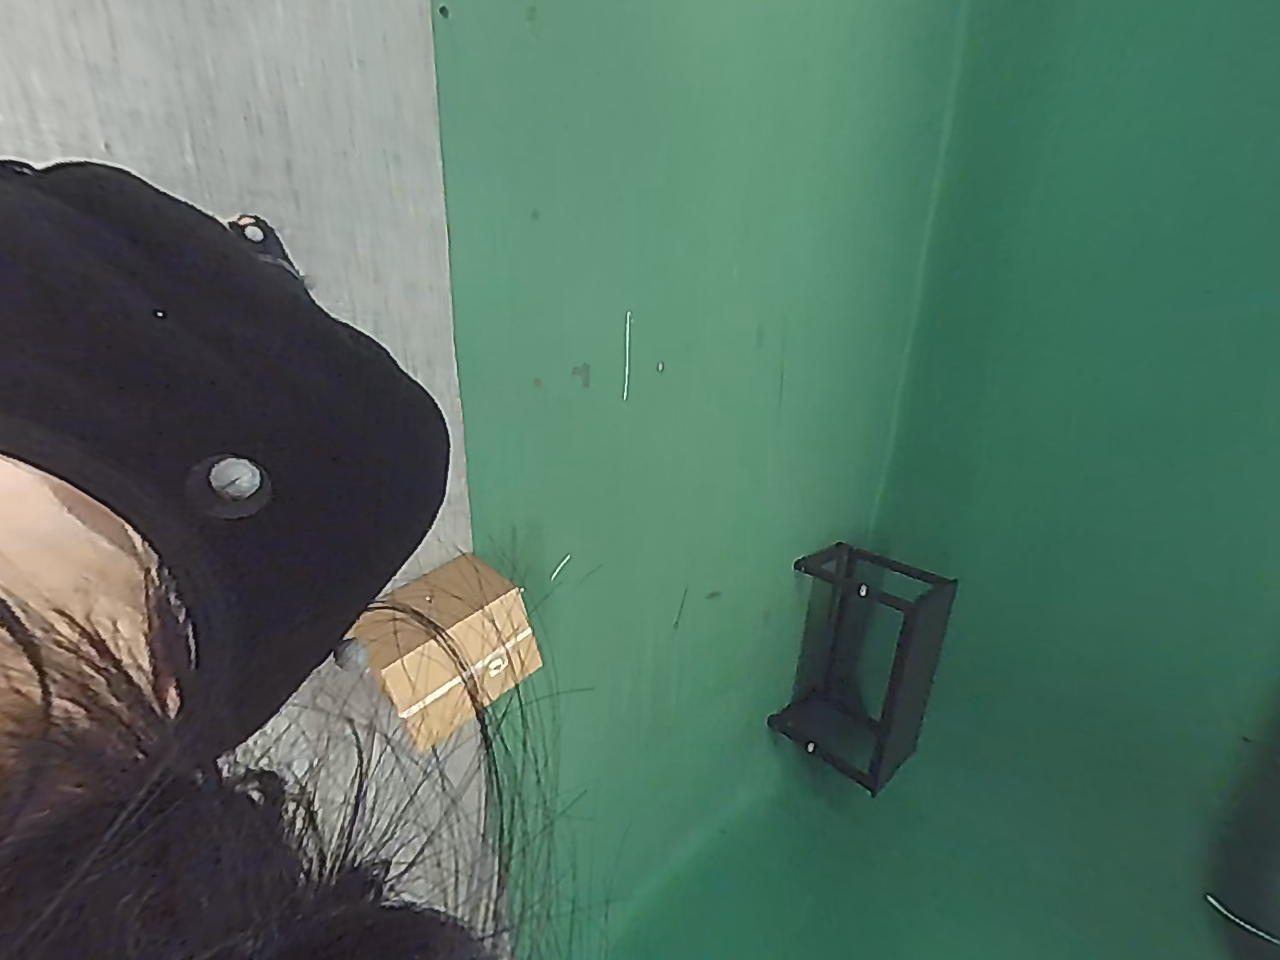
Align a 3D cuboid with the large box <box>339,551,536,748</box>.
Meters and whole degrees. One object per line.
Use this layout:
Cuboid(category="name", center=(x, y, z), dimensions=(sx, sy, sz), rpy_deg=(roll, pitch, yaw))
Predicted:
Cuboid(category="large box", center=(-0.585, 0.473, 1.592), dimensions=(0.408, 0.320, 0.320), rpy_deg=(-30, 125, -35))
